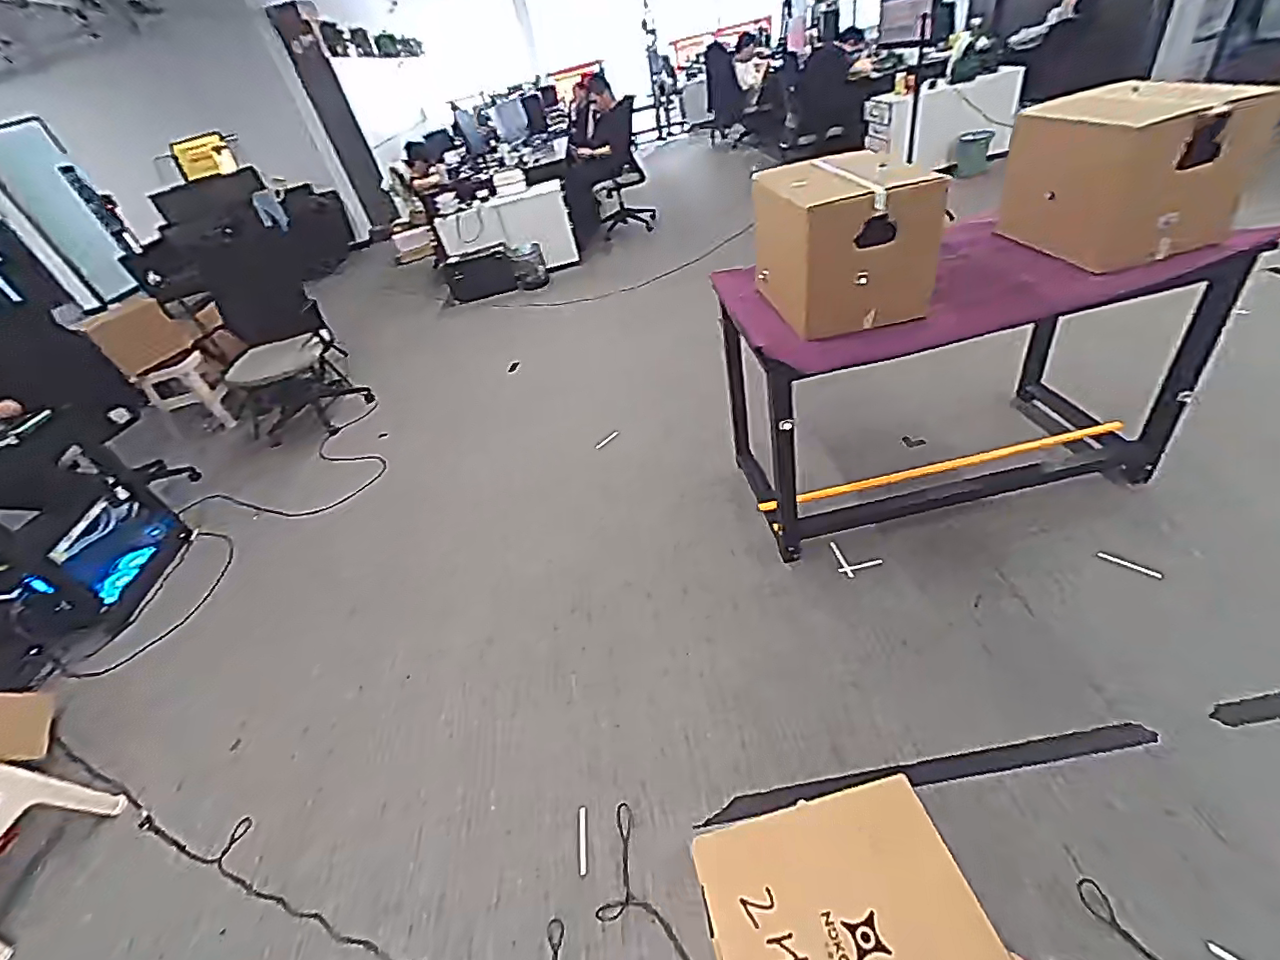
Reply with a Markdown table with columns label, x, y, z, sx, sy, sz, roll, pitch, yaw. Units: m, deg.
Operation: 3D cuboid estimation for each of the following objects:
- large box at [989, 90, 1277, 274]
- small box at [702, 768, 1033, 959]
| label | x | y | z | sx | sy | sz | roll | pitch | yaw |
| --- | --- | --- | --- | --- | --- | --- | --- | --- | --- |
| large box | 1.171 | -0.754 | 1.356 | 0.320 | 0.320 | 0.408 | -13 | 37 | 1 |
| small box | 0.155 | 0.347 | 0.392 | 0.179 | 0.176 | 0.168 | -14 | 37 | -3 |
